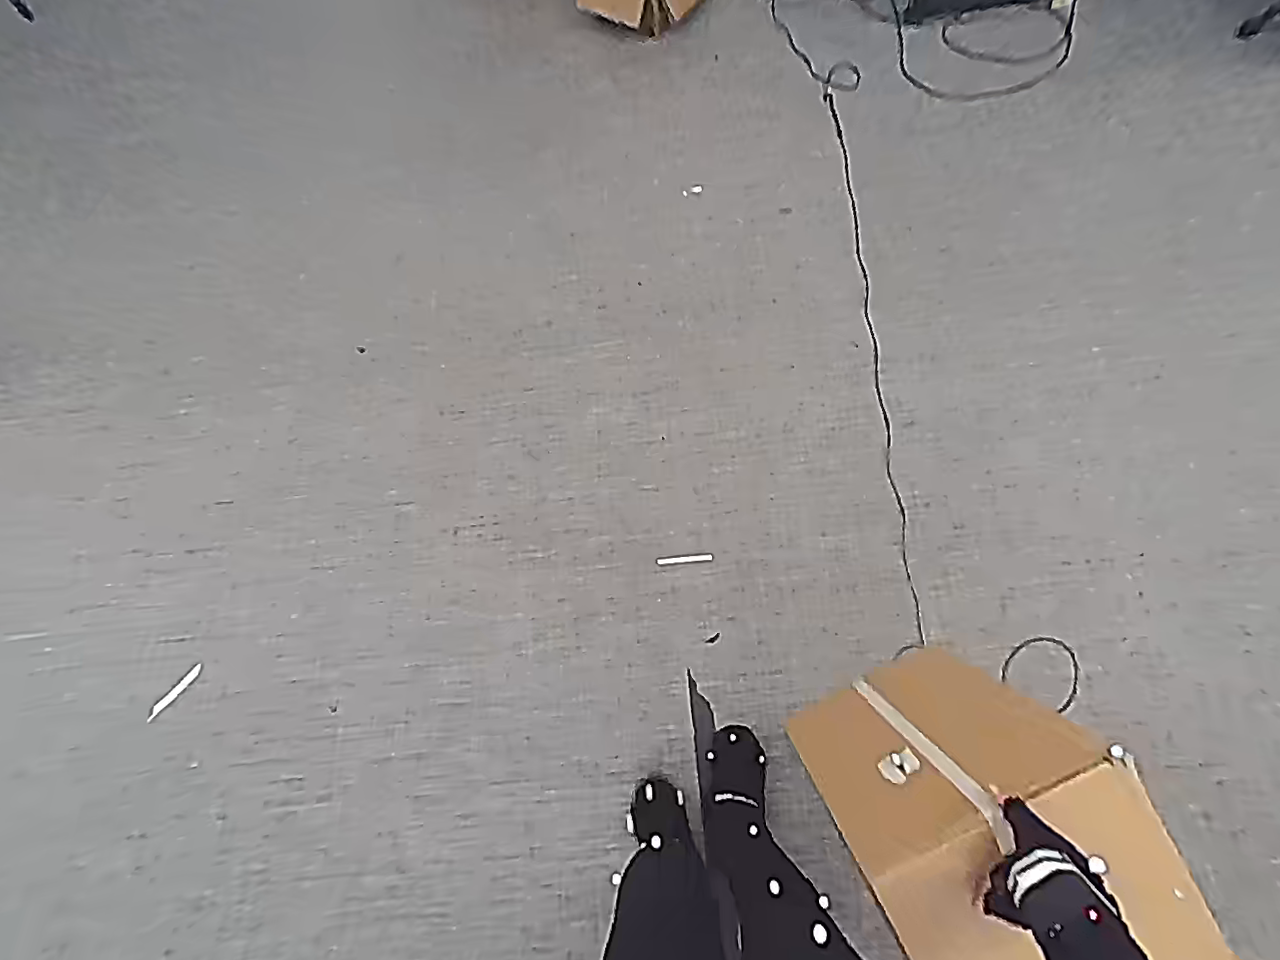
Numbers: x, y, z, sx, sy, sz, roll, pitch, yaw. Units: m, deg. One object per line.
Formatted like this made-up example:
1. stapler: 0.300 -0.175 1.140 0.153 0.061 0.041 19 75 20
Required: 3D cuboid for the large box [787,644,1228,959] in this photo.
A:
1. large box: 0.470 0.503 0.790 0.320 0.408 0.320 -29 92 1
